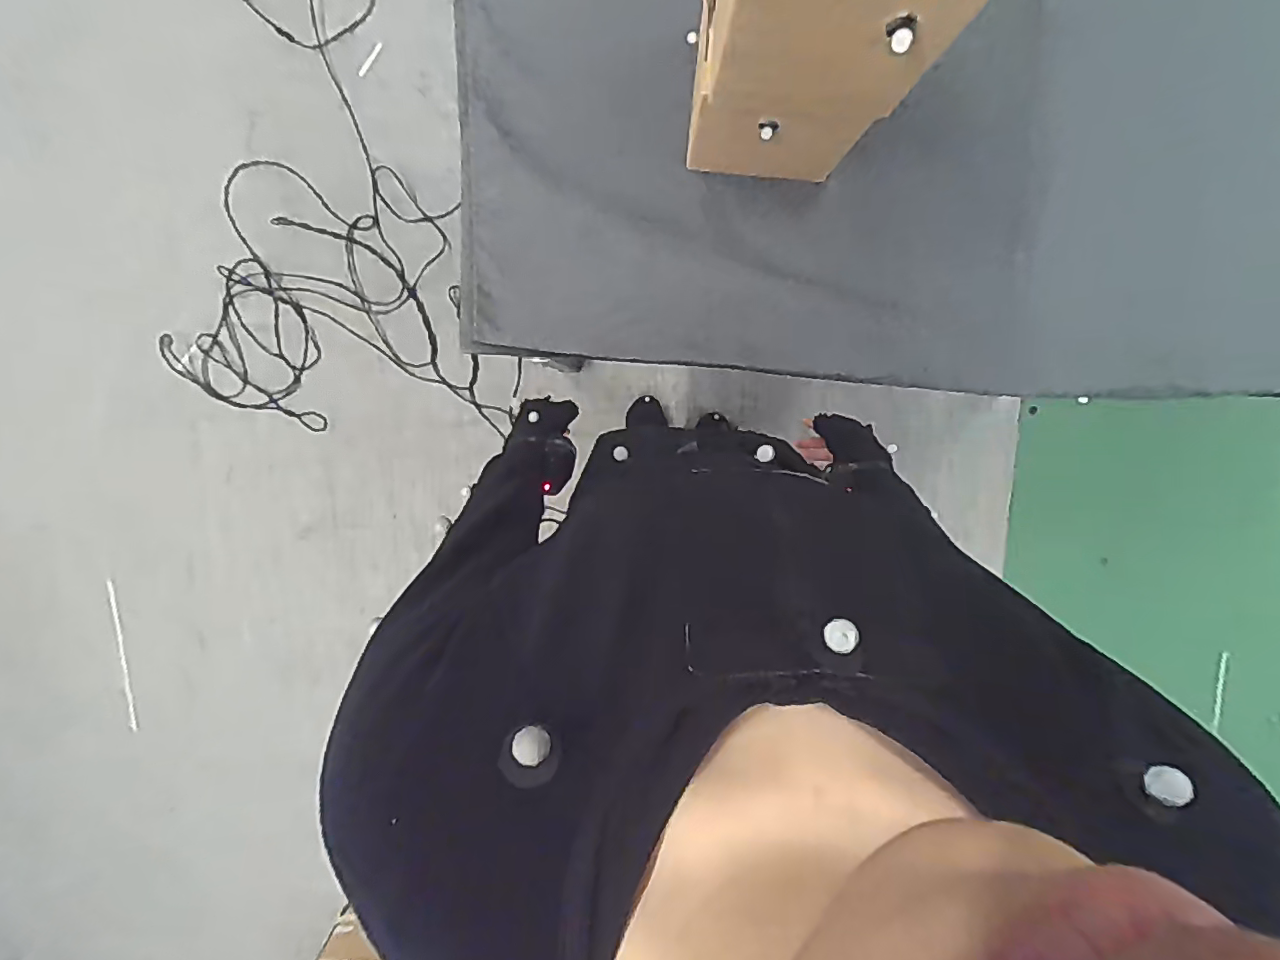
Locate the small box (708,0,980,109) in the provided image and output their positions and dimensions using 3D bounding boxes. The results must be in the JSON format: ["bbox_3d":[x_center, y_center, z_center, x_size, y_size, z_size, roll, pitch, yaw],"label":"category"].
[{"bbox_3d":[0.159,-0.431,0.433,0.179,0.176,0.168,3,97,-1],"label":"small box"}]

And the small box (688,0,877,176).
[{"bbox_3d":[0.151,-0.460,0.596,0.179,0.176,0.168,5,98,-2],"label":"small box"}]
